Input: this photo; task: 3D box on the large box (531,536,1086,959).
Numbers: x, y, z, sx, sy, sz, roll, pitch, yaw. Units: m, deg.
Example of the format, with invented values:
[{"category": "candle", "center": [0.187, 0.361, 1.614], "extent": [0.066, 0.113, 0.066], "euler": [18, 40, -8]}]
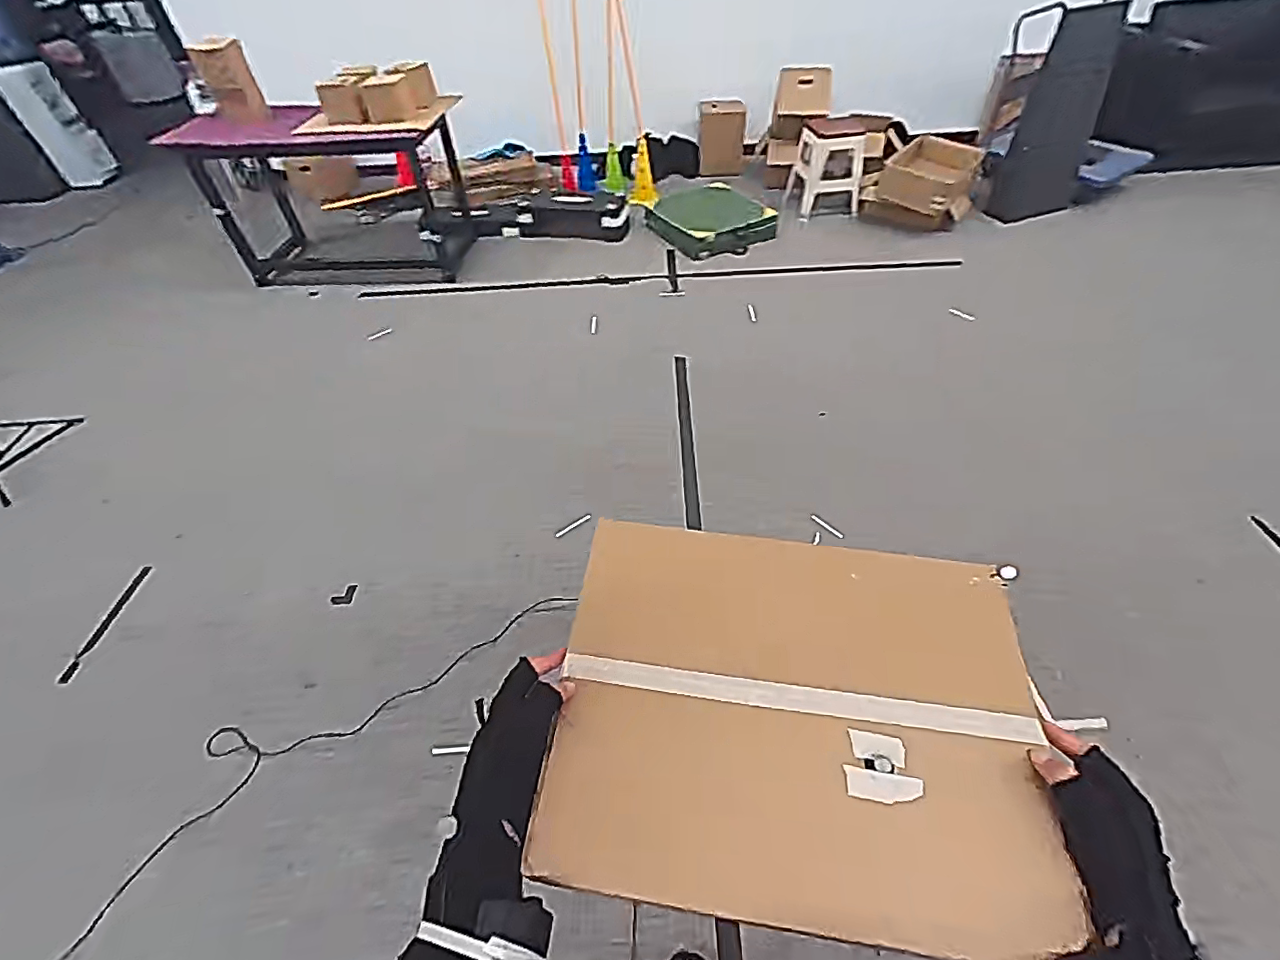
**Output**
[{"category": "large box", "center": [0.132, 0.287, 0.593], "extent": [0.408, 0.320, 0.320], "euler": [6, 55, 5]}]
